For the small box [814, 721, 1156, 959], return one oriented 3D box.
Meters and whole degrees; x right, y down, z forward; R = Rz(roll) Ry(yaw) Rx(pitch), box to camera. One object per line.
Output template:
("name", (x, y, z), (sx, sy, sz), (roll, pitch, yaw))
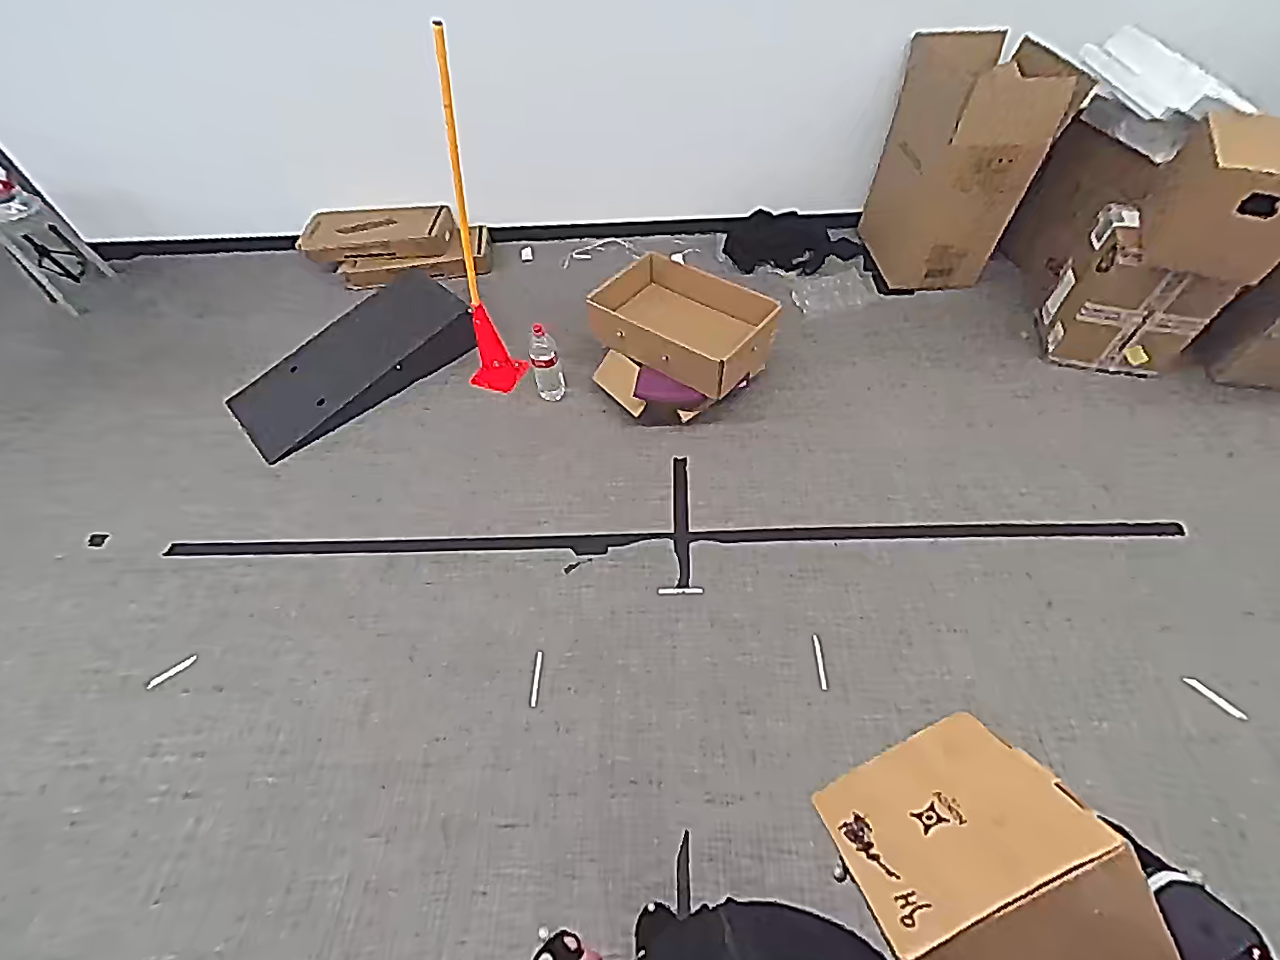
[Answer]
("small box", (0.288, 0.357, 0.465), (0.179, 0.168, 0.176), (-28, 97, -1))
